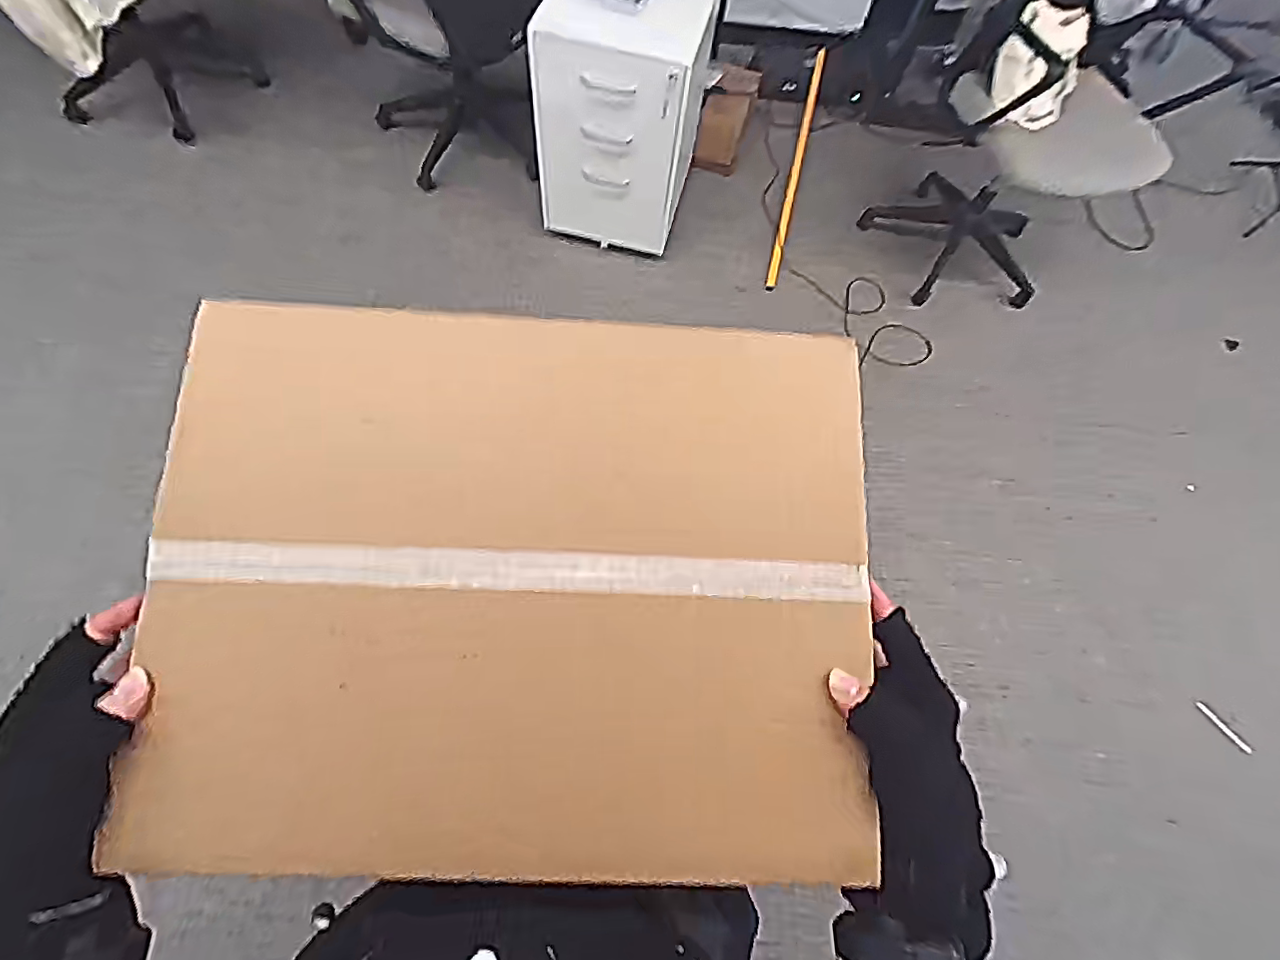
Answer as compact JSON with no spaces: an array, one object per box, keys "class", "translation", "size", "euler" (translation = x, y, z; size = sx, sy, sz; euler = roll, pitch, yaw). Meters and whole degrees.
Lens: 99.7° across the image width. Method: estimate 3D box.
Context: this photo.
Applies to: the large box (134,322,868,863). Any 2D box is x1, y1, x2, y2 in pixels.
[{"class":"large box","translation":[-0.075,0.084,0.466],"size":[0.408,0.320,0.320],"euler":[2,80,-2]}]
